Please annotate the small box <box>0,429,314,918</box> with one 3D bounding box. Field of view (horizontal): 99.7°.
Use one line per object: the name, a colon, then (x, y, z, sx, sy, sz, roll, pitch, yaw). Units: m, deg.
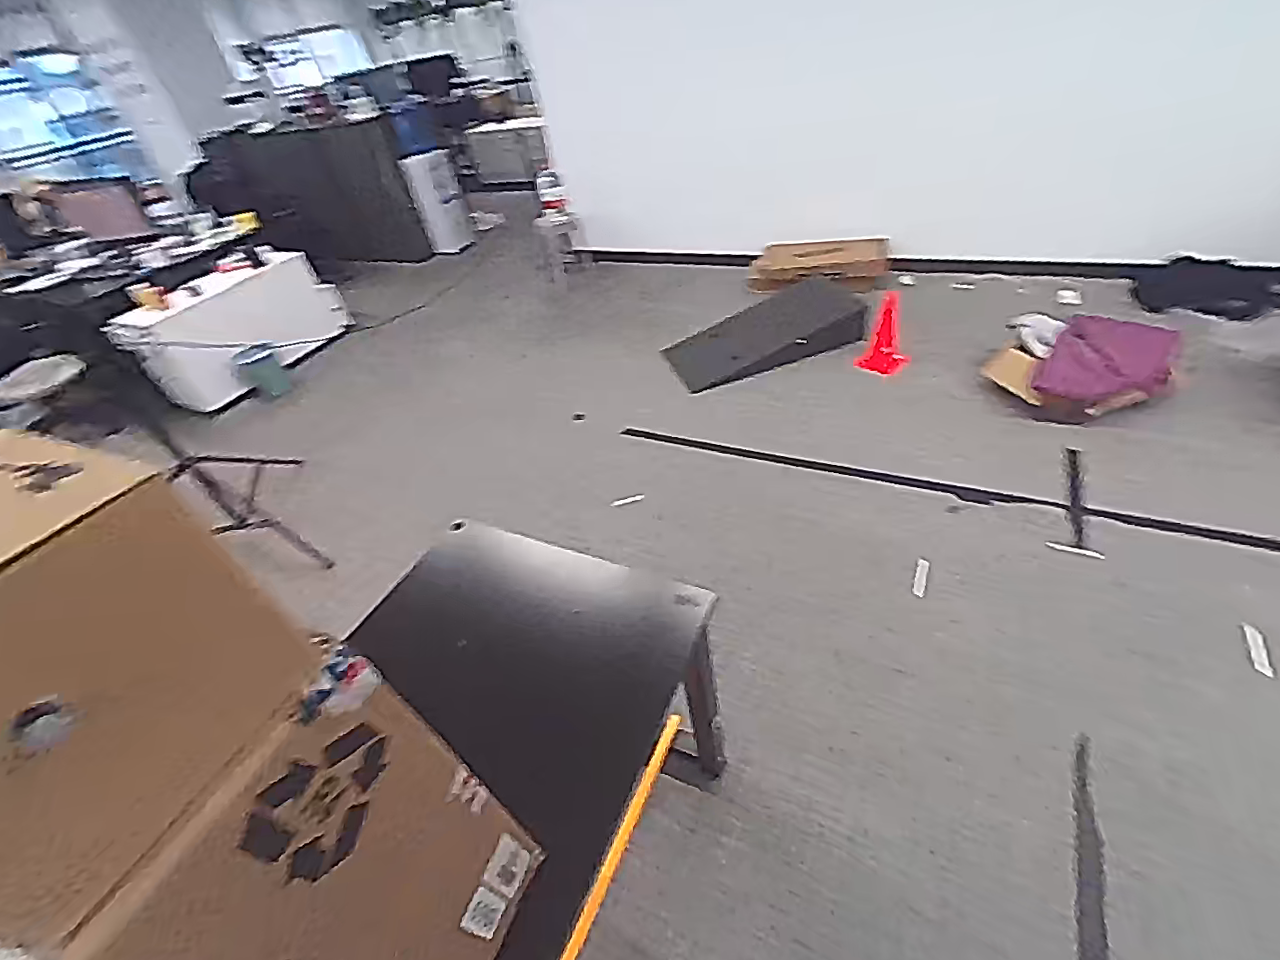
small box: (-0.335, 0.098, 0.300, 0.168, 0.176, 0.179, 11, 46, 21)
